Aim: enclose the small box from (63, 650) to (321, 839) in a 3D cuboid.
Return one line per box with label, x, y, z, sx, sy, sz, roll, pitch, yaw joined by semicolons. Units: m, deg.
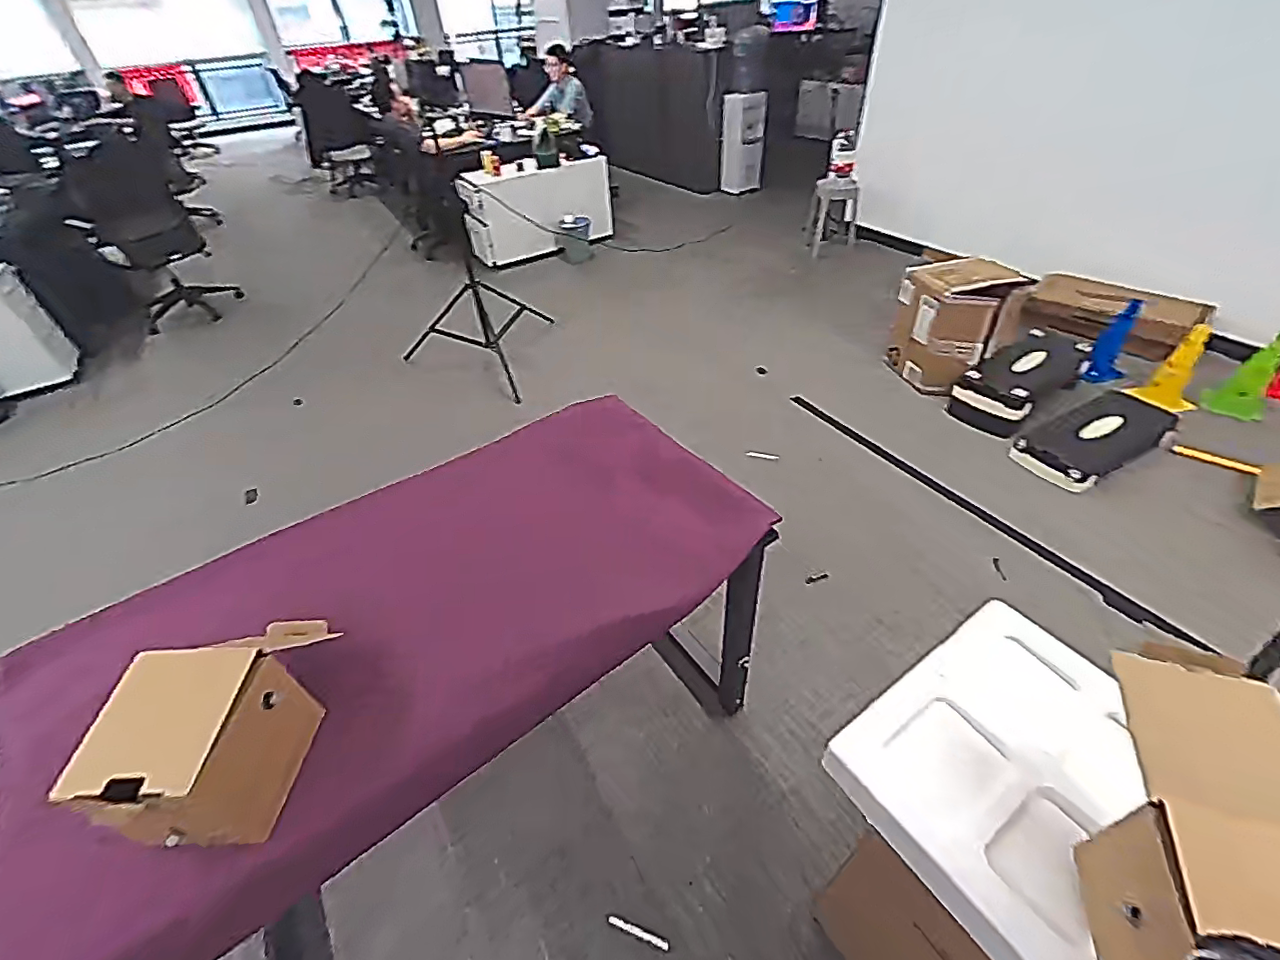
small box;-0.562;0.349;0.716;0.168;0.176;0.179;-3;41;3
